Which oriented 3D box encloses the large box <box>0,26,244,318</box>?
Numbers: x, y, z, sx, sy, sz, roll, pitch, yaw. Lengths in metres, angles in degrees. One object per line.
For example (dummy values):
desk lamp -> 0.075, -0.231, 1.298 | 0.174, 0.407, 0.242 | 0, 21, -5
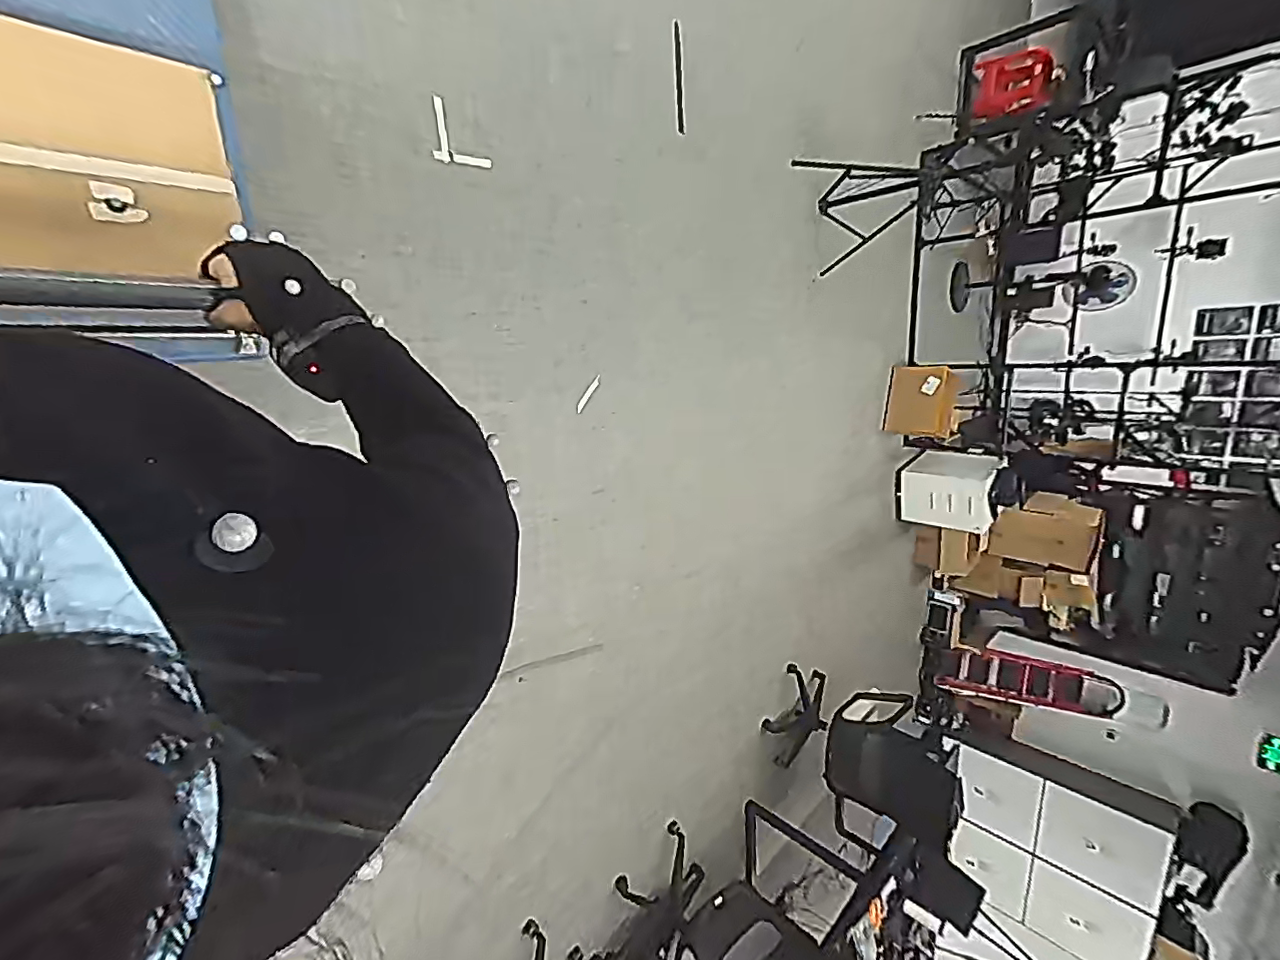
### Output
large box -> -0.867, -0.408, 0.774 | 0.408, 0.320, 0.320 | -14, 107, -44
